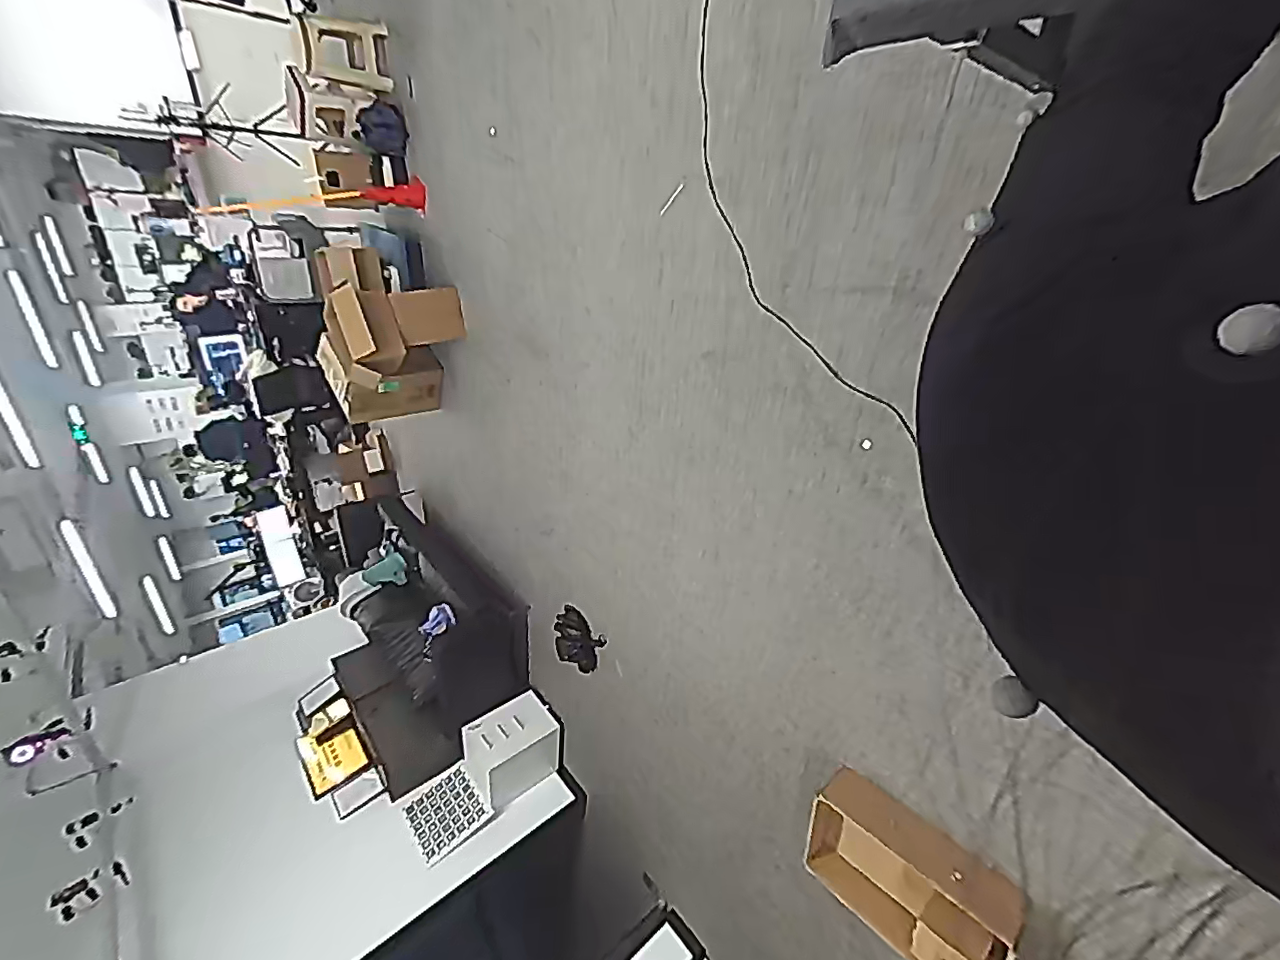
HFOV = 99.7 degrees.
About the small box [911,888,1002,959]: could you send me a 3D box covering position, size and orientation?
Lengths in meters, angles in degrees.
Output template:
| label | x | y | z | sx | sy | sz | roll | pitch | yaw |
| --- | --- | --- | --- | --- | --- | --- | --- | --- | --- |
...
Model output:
| label | x | y | z | sx | sy | sz | roll | pitch | yaw |
| --- | --- | --- | --- | --- | --- | --- | --- | --- | --- |
| small box | 0.969 | 1.406 | 1.658 | 0.179 | 0.176 | 0.168 | 22 | 123 | 46 |
